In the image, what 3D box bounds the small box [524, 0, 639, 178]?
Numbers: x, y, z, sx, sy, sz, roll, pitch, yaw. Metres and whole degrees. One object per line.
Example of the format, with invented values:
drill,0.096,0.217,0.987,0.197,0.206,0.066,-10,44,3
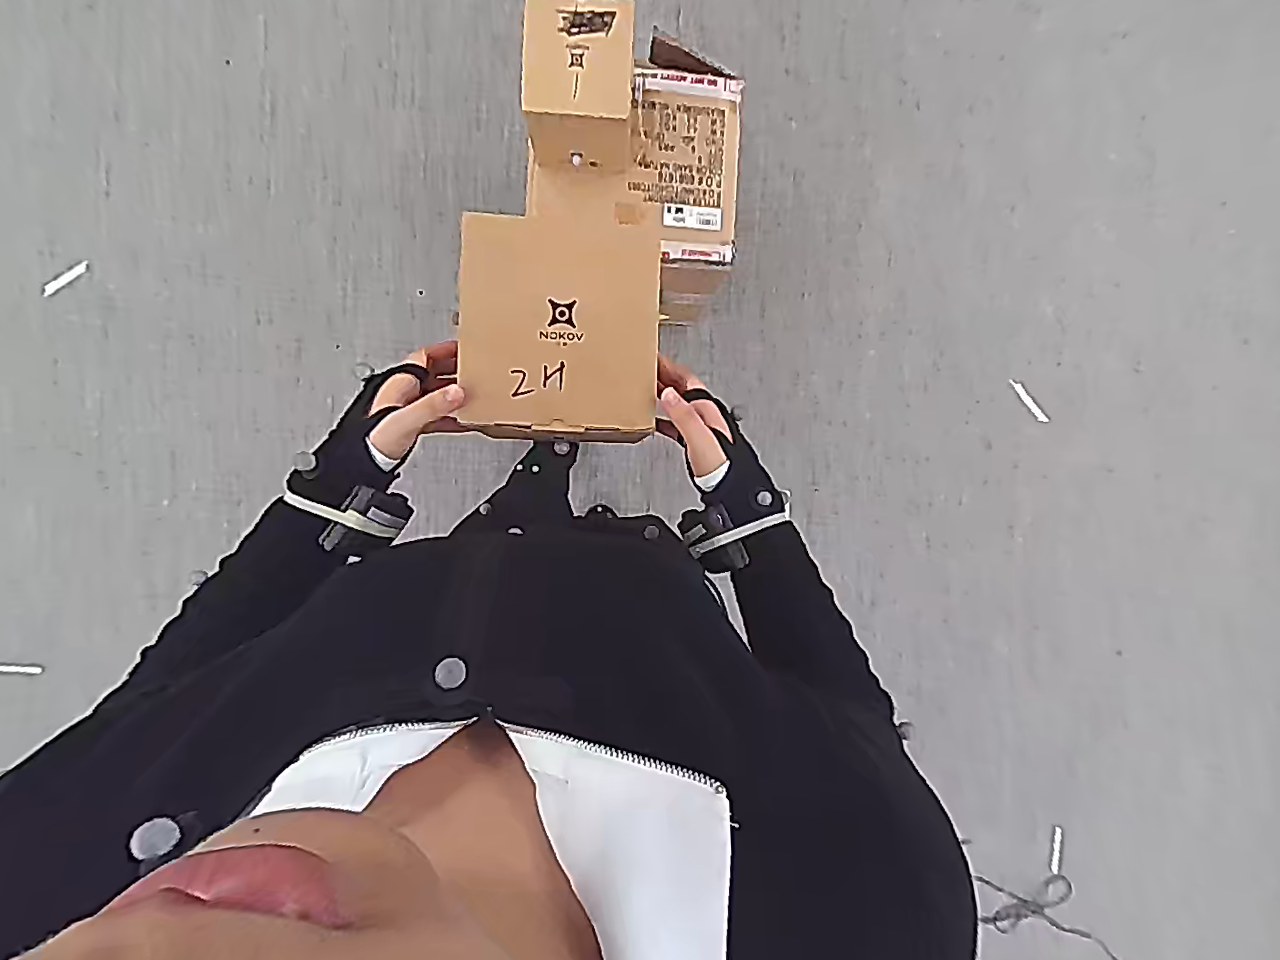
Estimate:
small box,-0.092,-0.635,0.894,0.168,0.176,0.179,3,94,-2
